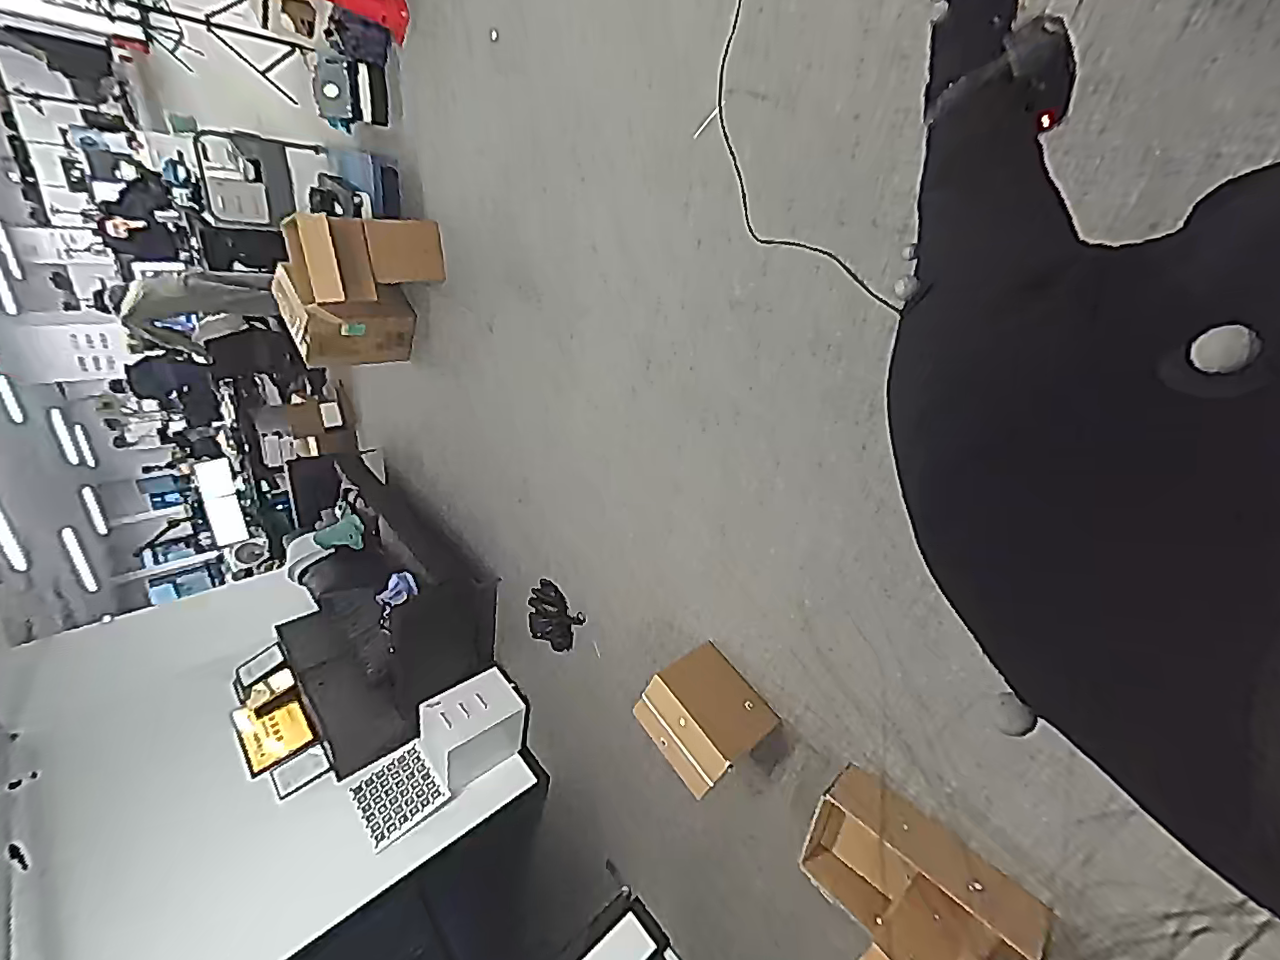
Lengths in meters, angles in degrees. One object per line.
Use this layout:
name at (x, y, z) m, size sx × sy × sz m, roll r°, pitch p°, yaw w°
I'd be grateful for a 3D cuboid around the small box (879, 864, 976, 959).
small box at (0.865, 1.314, 1.621) m, size 0.179 × 0.176 × 0.168 m, roll 37°, pitch 128°, yaw 37°

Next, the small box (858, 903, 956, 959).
small box at (0.745, 1.354, 1.516) m, size 0.179 × 0.176 × 0.168 m, roll 36°, pitch 127°, yaw 38°
